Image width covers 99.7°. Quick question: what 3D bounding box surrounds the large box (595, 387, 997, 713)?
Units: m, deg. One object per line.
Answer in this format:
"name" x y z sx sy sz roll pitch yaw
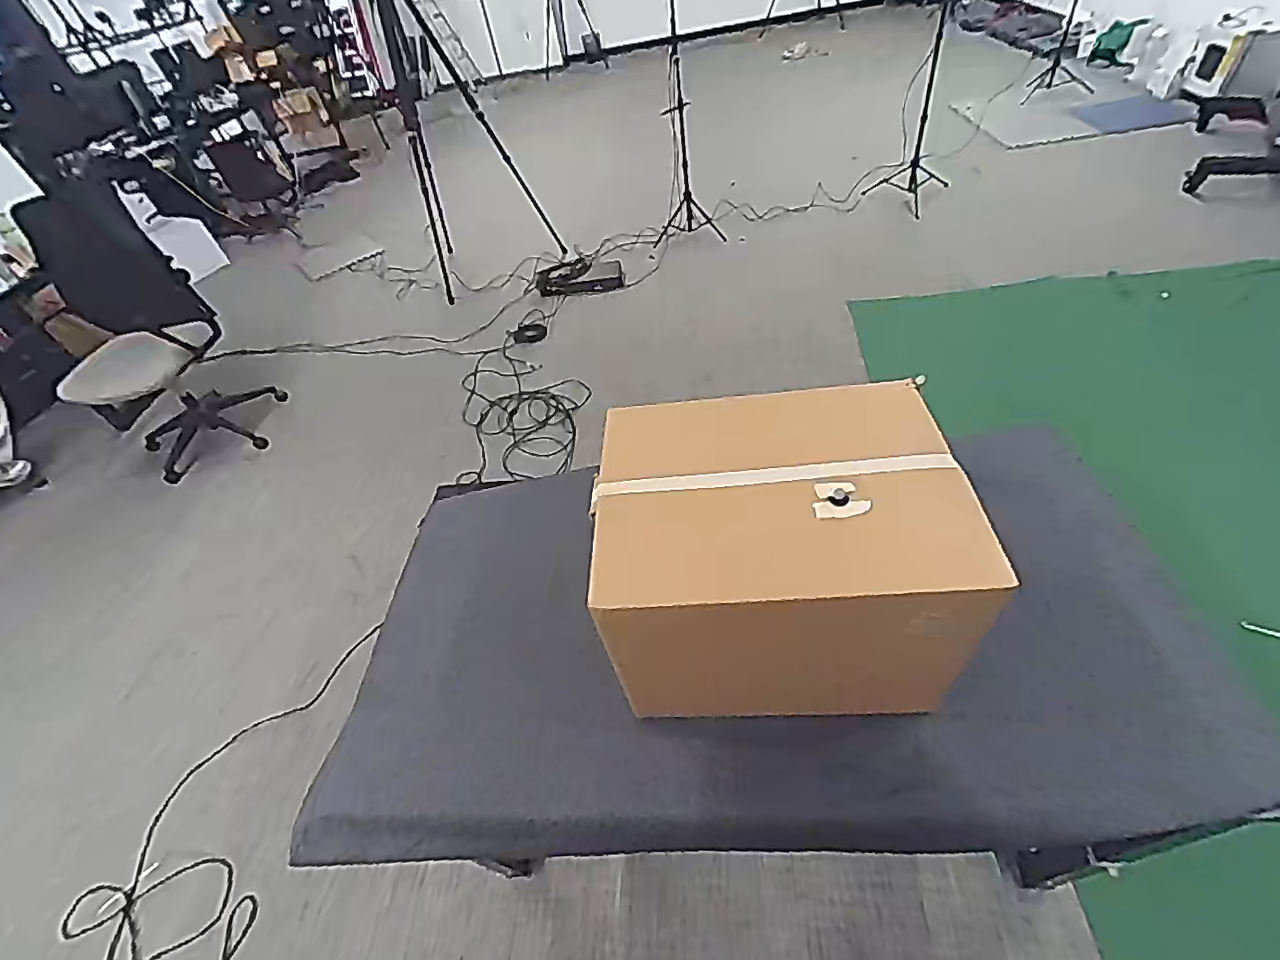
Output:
"large box" 0.169 0.105 0.744 0.408 0.320 0.320 -5 48 7
